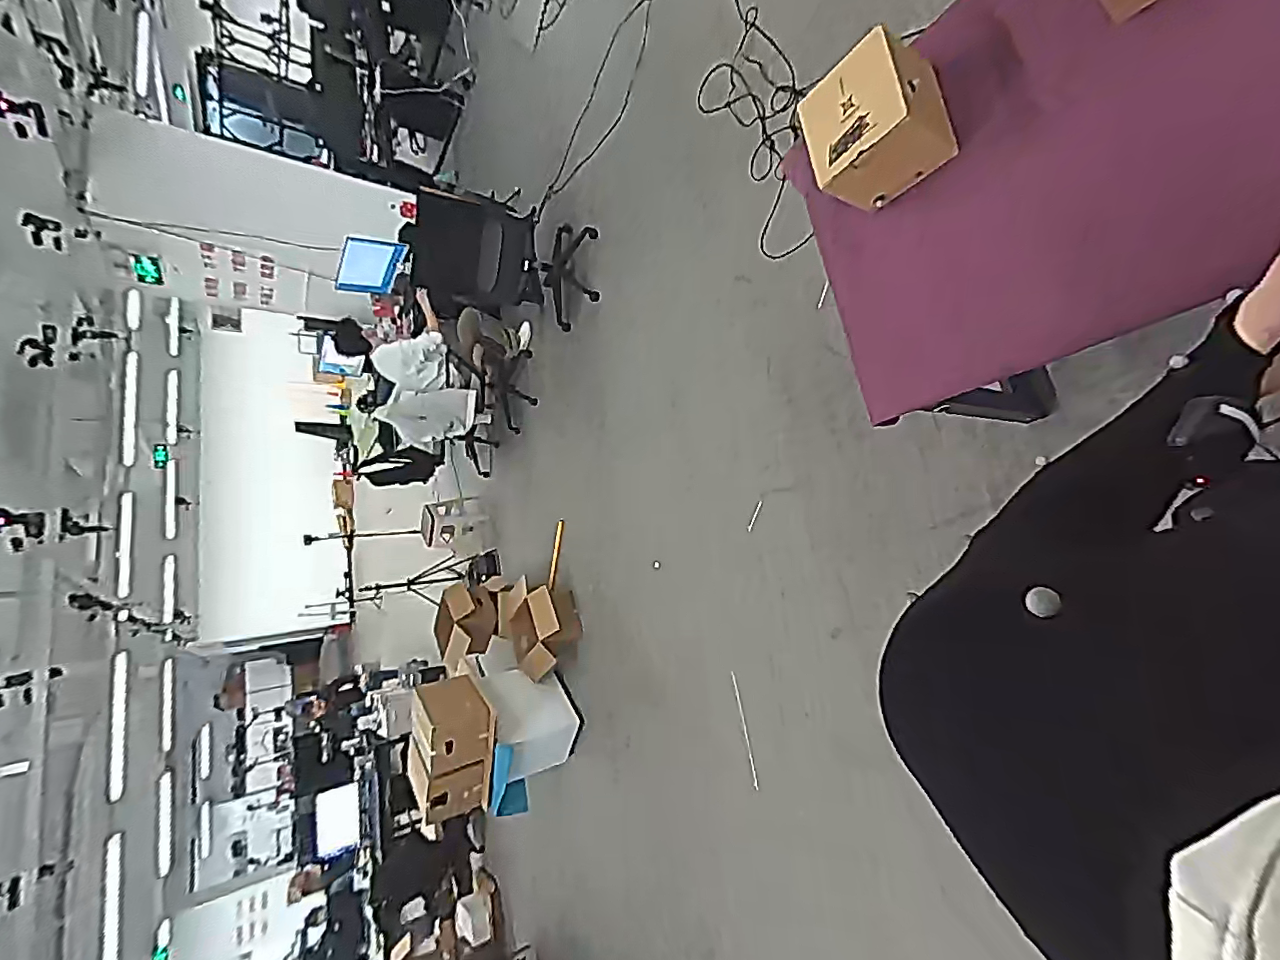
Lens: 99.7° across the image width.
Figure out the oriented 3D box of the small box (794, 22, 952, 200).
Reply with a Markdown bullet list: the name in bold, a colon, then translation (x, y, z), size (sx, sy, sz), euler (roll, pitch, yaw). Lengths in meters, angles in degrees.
- **small box**: translation (0.400, -0.612, 0.928), size (0.168, 0.176, 0.179), euler (-24, 74, 51)
